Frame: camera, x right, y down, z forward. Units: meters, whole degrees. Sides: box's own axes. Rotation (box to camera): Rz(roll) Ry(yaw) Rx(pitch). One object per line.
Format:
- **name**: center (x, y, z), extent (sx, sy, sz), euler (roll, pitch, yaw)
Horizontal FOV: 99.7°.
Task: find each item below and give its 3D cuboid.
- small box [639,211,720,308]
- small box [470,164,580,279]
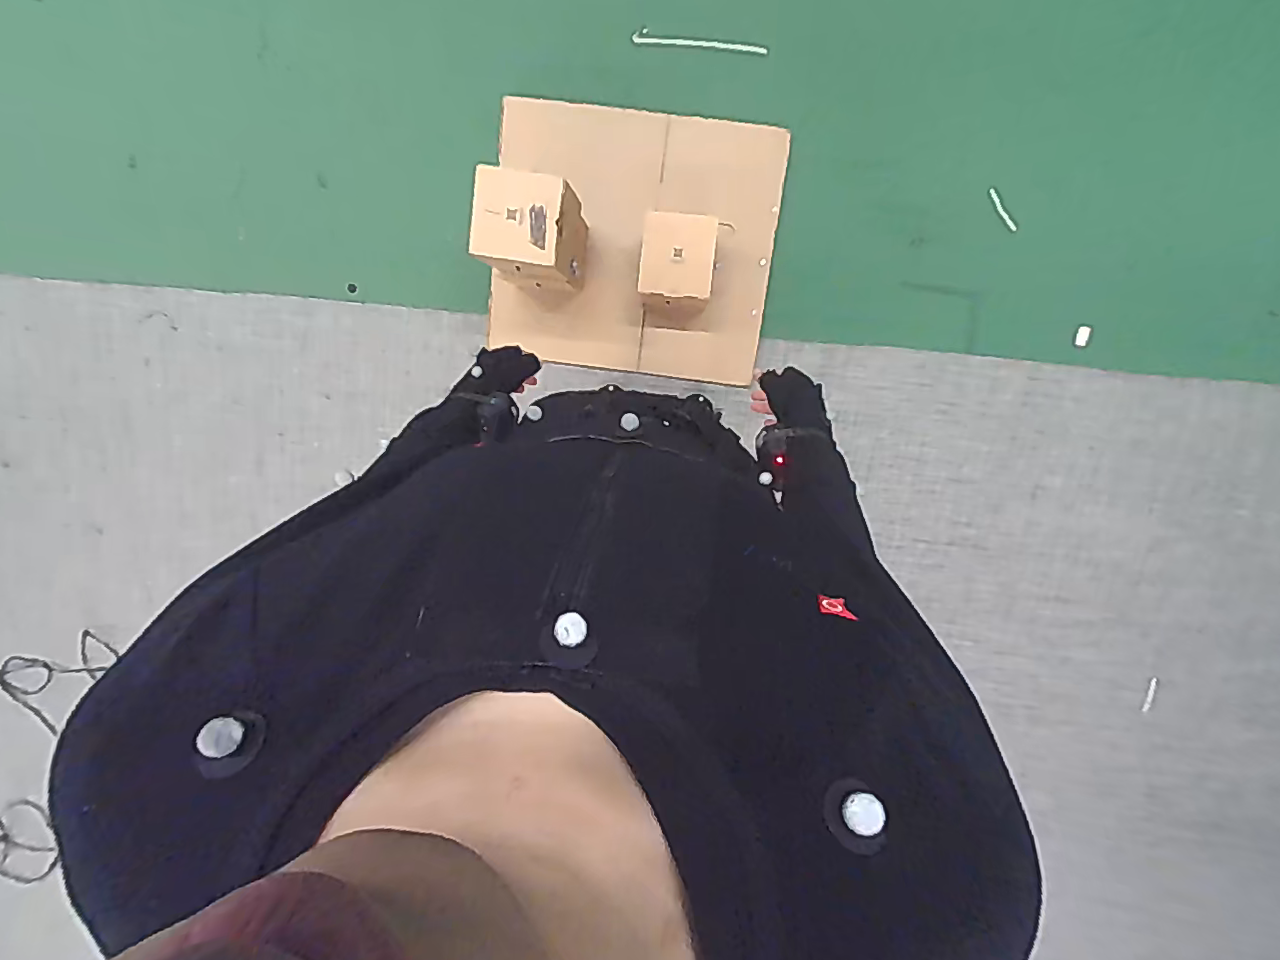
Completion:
- **small box**: center (0.089, -0.511, 1.271), extent (0.168, 0.176, 0.179), euler (6, 102, 2)
- **small box**: center (-0.229, -0.521, 1.115), extent (0.179, 0.176, 0.168), euler (11, 102, 3)
